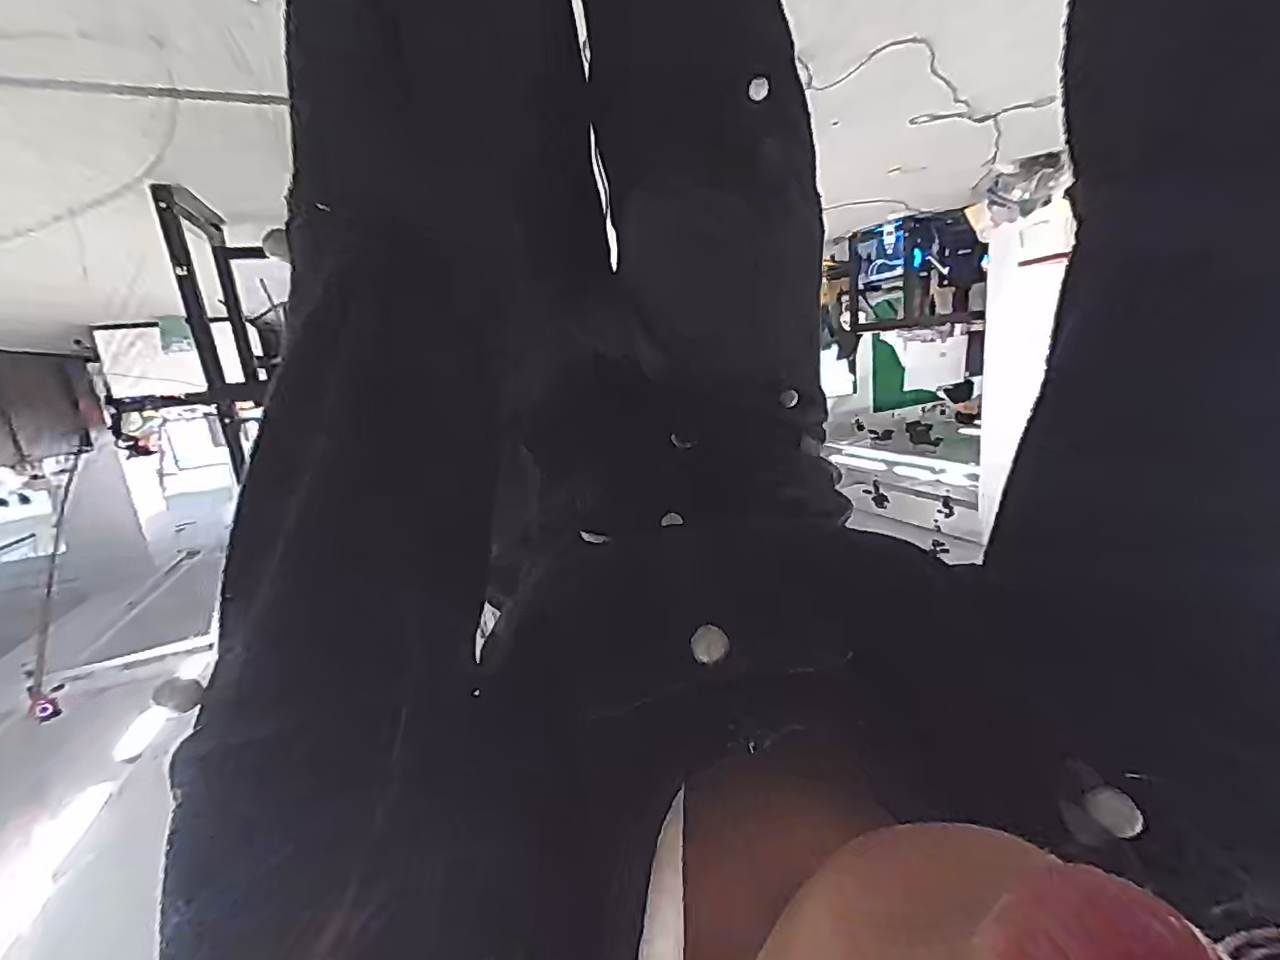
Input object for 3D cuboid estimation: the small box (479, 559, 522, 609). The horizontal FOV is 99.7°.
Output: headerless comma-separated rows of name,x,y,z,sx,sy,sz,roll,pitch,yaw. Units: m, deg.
small box,-0.684,0.501,2.639,0.168,0.176,0.179,-12,-165,-21
